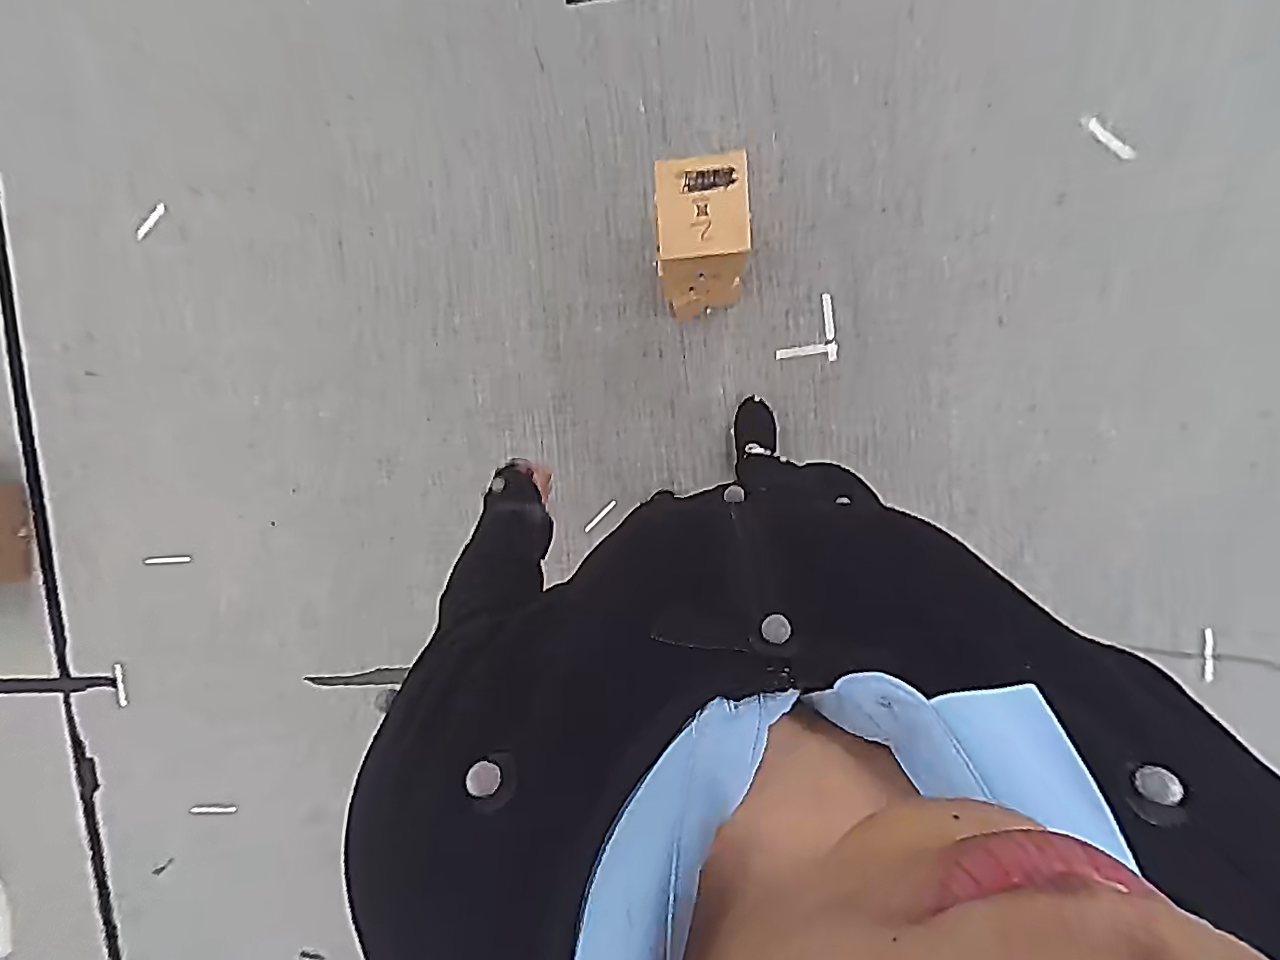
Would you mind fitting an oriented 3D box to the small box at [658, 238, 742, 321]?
[{"bbox_3d":[0.150,-0.525,1.367,0.168,0.176,0.179,-16,92,7],"label":"small box"}]

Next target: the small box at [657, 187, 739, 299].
[{"bbox_3d":[0.126,-0.520,1.206,0.168,0.176,0.179,-4,94,6],"label":"small box"}]
